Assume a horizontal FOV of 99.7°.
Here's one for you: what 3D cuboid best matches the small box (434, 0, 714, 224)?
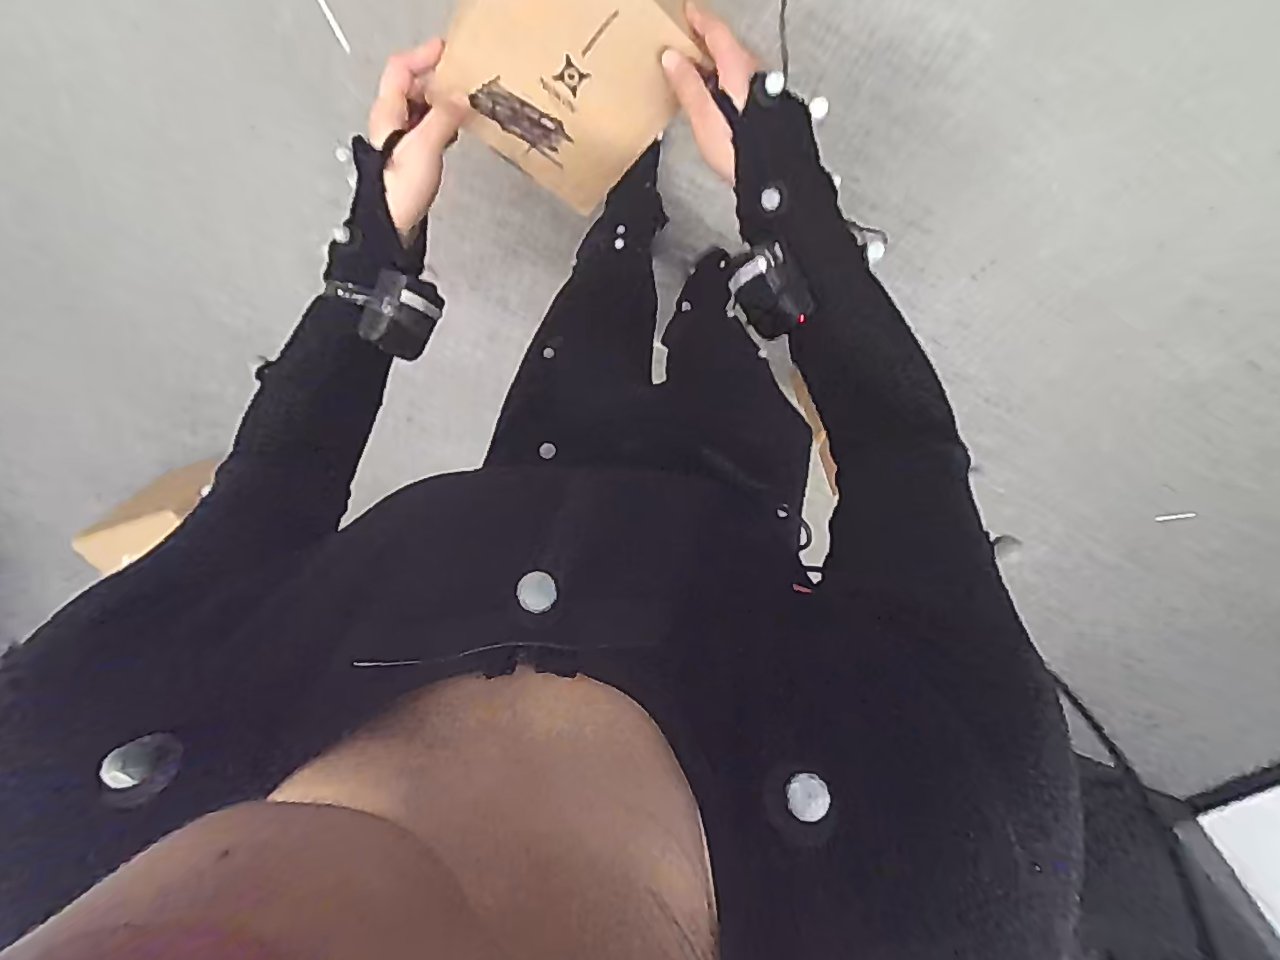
[{"bbox_3d":[-0.051,-0.377,0.468,0.168,0.176,0.179,22,149,-36],"label":"small box"}]

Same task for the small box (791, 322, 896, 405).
[{"bbox_3d":[0.483,-0.257,1.296,0.179,0.176,0.168,21,126,-10],"label":"small box"}]
